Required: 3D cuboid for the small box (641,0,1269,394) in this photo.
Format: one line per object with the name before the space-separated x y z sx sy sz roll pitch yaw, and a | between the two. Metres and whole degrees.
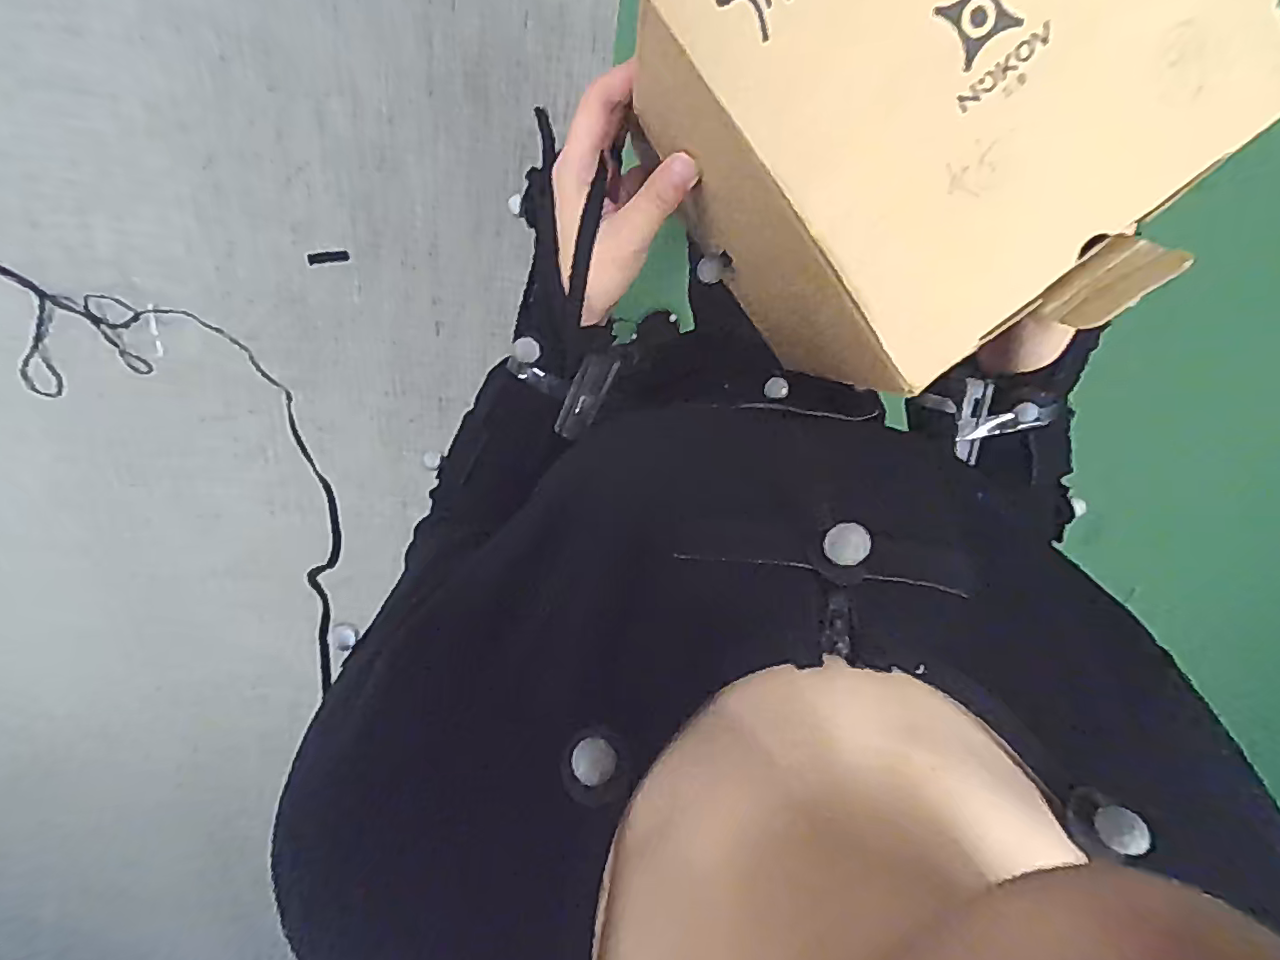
small box | 0.116 -0.169 0.269 0.168 0.176 0.179 -37 104 7
